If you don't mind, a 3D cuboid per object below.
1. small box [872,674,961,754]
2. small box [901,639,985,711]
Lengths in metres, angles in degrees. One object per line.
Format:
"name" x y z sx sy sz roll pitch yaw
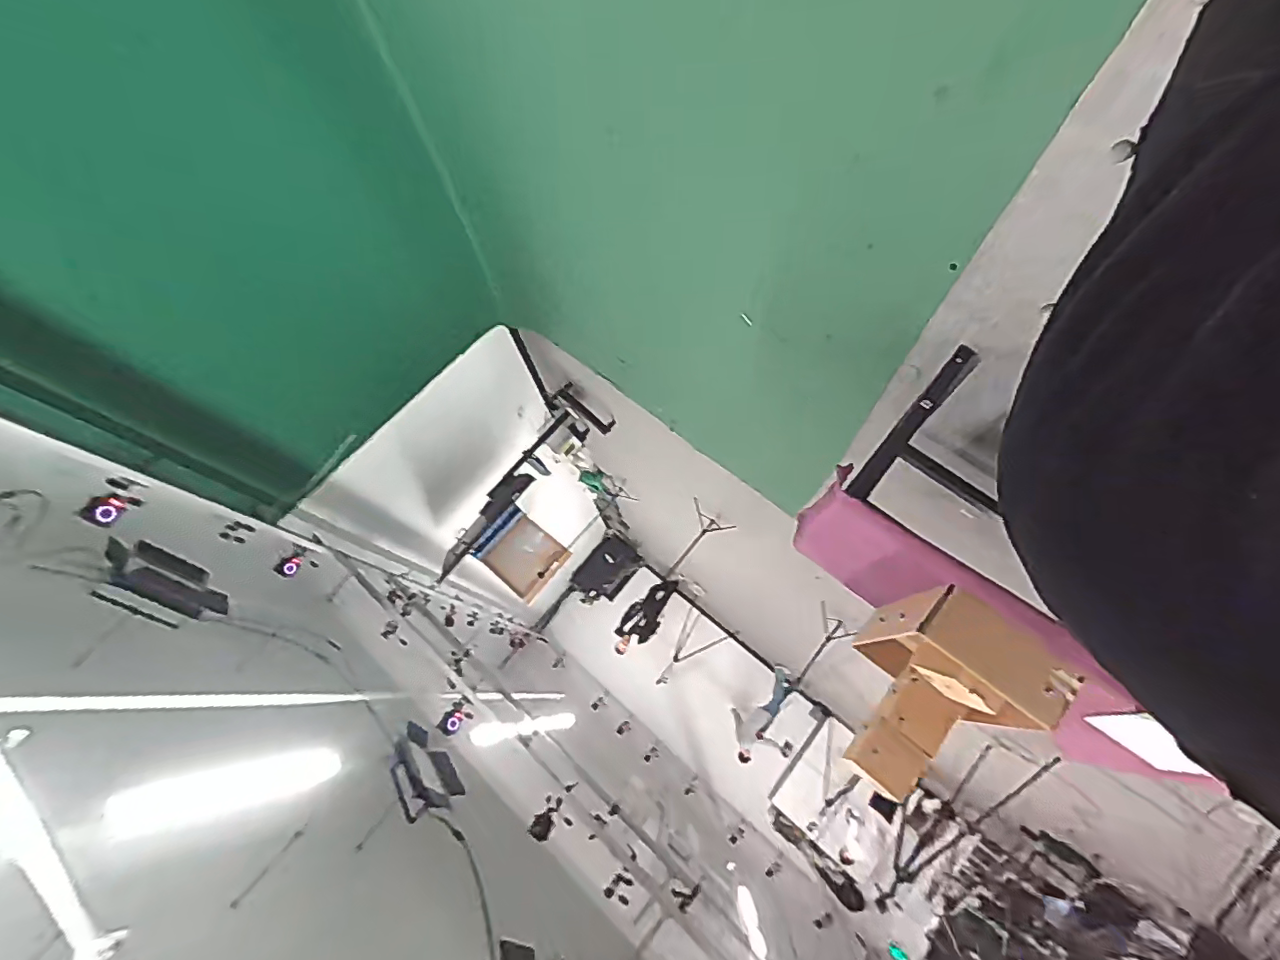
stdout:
"small box" 0.911 0.765 1.781 0.179 0.176 0.168 38 165 17
"small box" 1.020 0.653 1.822 0.168 0.176 0.179 39 165 15
